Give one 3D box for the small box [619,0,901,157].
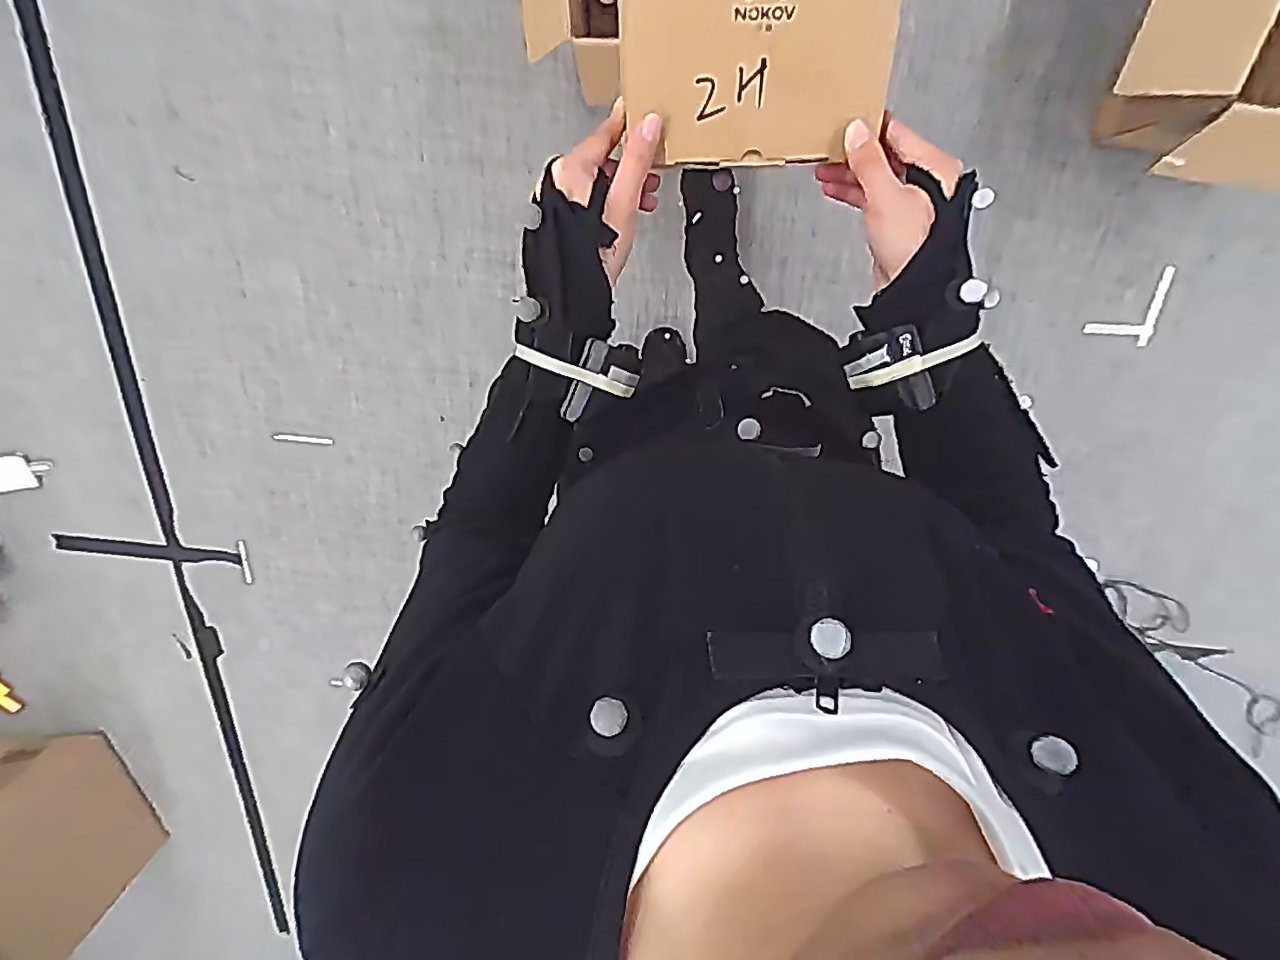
[{"bbox_3d":[0.069,-0.333,0.380,0.168,0.176,0.179,-2,120,-1],"label":"small box"}]
